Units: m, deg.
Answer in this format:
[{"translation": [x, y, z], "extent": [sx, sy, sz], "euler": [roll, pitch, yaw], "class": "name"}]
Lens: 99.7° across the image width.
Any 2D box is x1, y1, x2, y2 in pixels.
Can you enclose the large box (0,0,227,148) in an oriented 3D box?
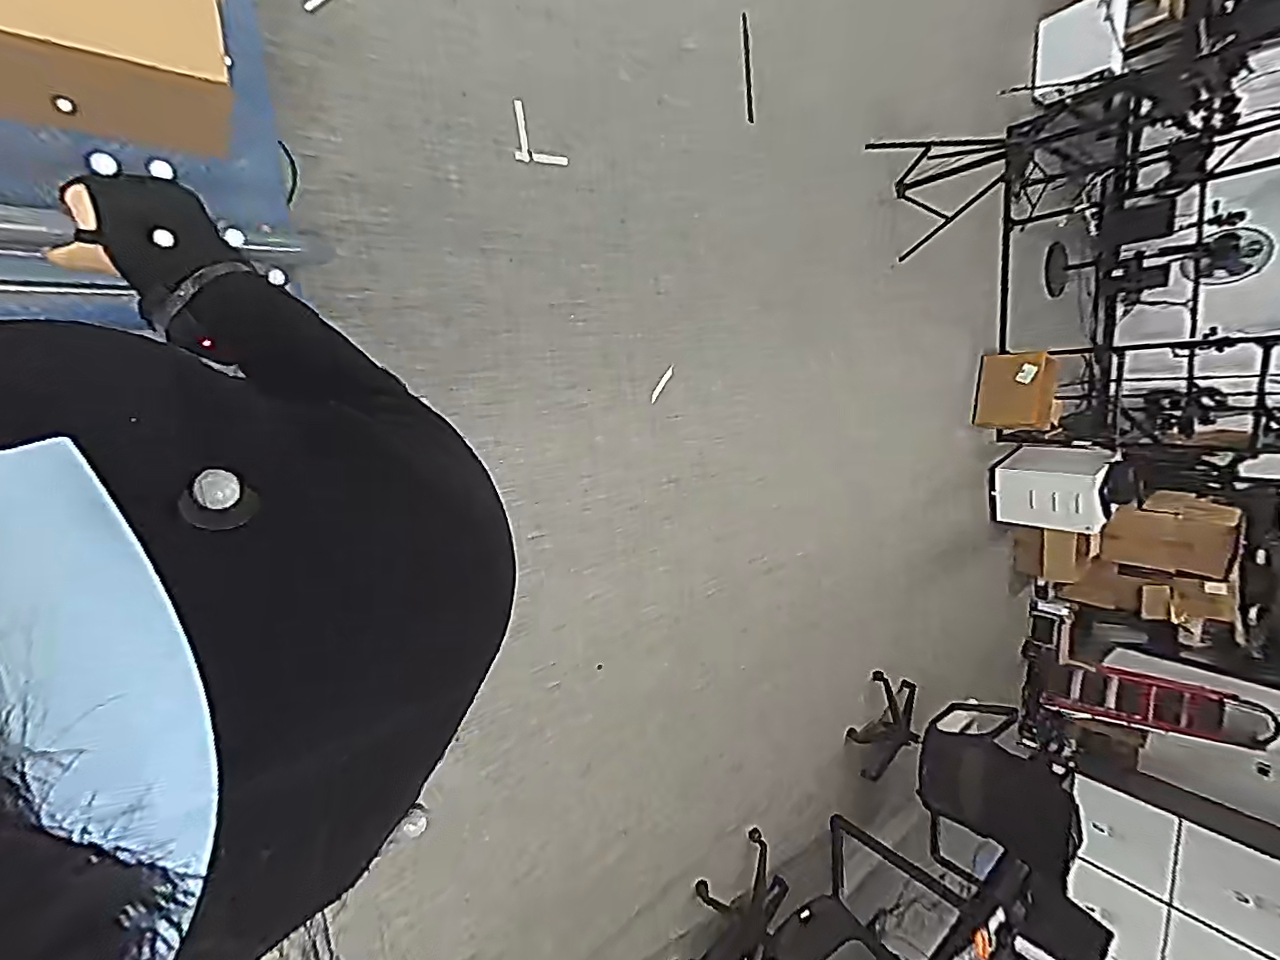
[{"translation": [-0.870, -0.729, 0.774], "extent": [0.408, 0.320, 0.320], "euler": [-10, 101, -35], "class": "large box"}]
